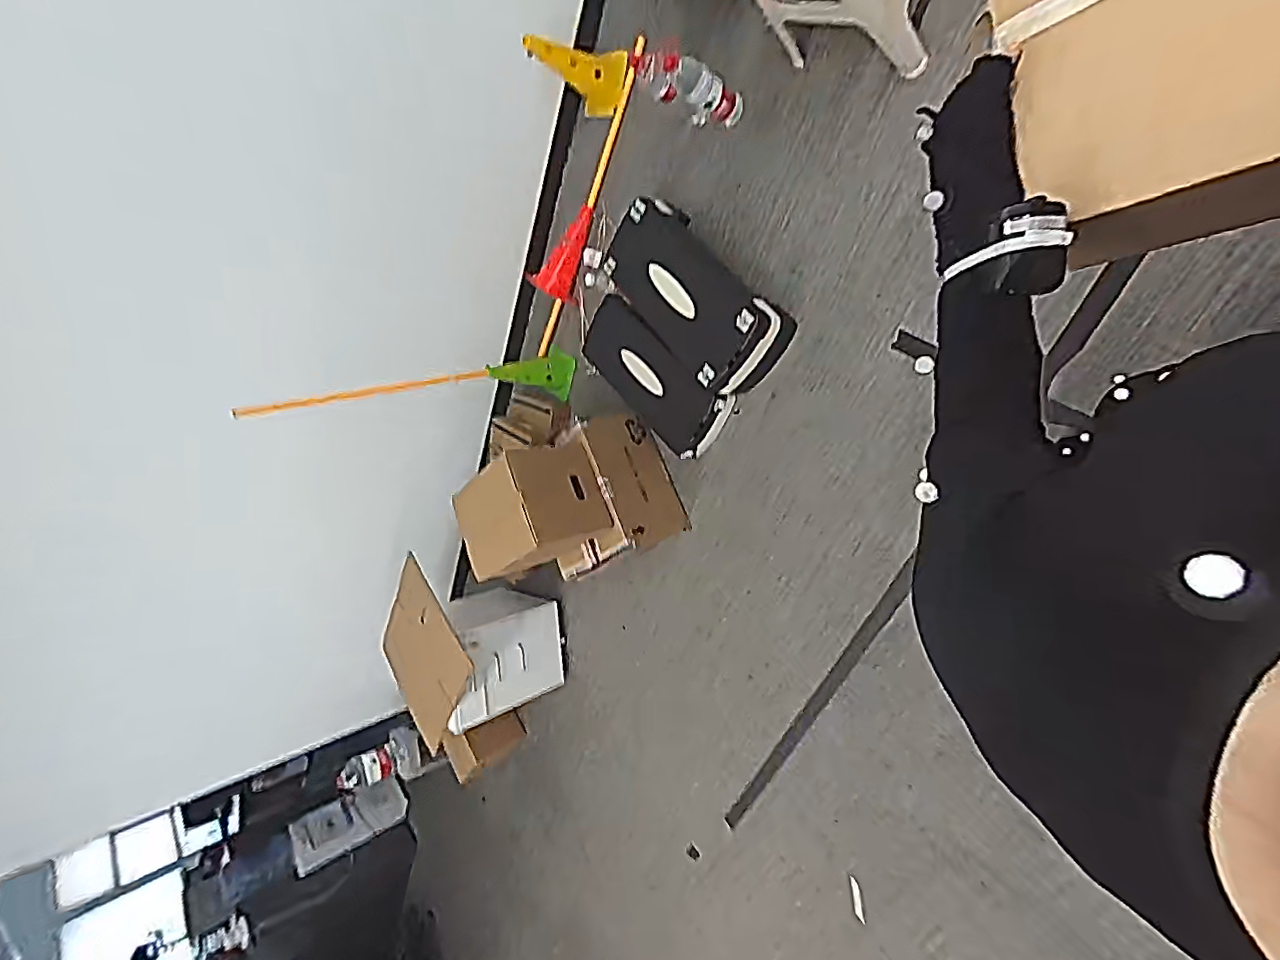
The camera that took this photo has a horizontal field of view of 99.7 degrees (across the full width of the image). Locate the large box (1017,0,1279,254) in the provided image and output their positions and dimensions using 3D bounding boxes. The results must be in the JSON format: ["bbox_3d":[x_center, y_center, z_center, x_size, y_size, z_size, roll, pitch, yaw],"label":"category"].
[{"bbox_3d":[0.548,-0.407,0.405,0.408,0.320,0.320,-4,98,44],"label":"large box"}]
